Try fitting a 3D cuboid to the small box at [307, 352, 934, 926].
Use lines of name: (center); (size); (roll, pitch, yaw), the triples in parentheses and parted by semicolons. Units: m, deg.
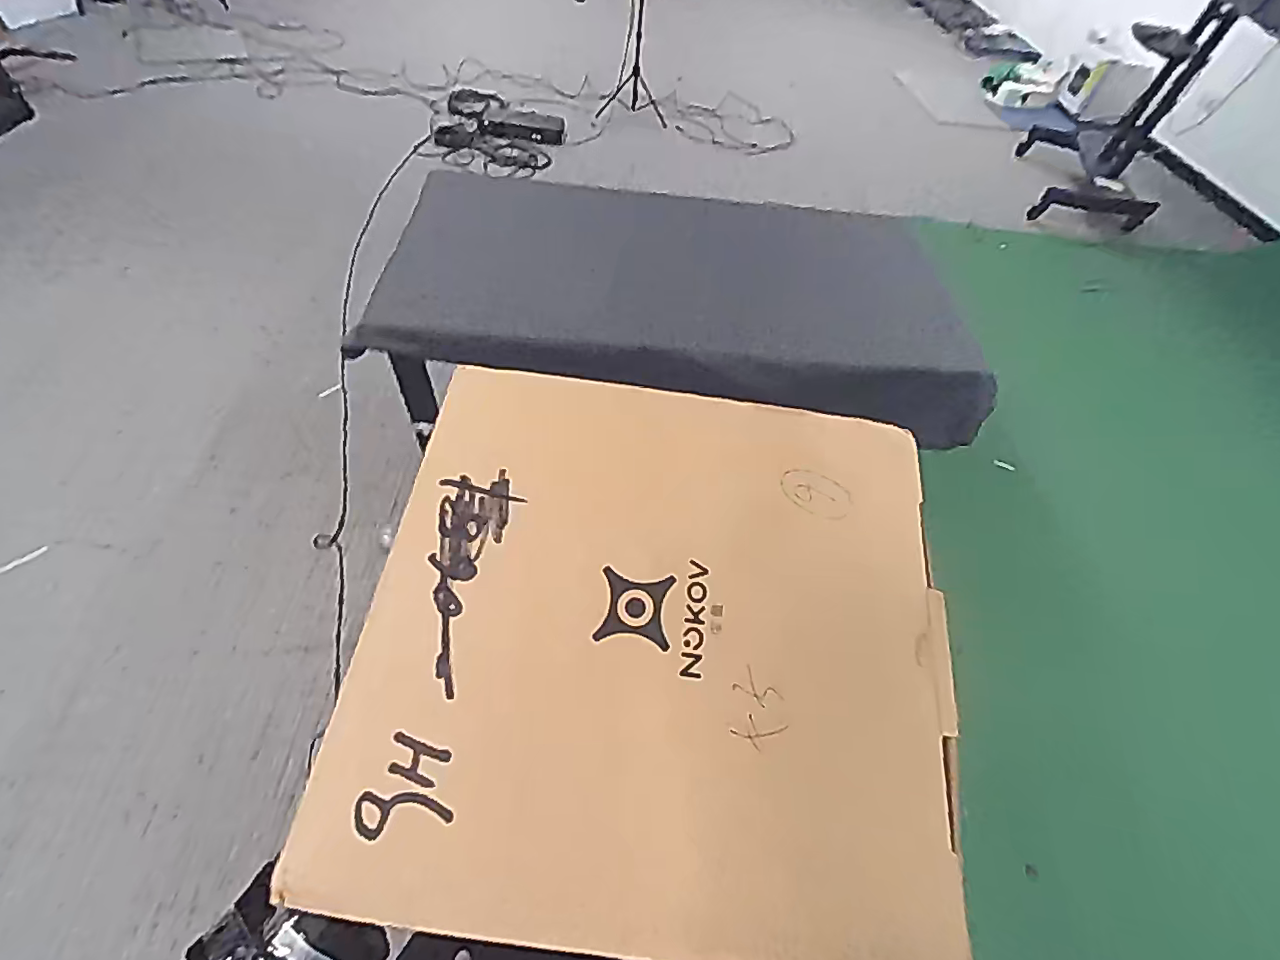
small box: (-0.001, 0.071, 0.252); (0.179, 0.176, 0.168); (10, 62, -1)
